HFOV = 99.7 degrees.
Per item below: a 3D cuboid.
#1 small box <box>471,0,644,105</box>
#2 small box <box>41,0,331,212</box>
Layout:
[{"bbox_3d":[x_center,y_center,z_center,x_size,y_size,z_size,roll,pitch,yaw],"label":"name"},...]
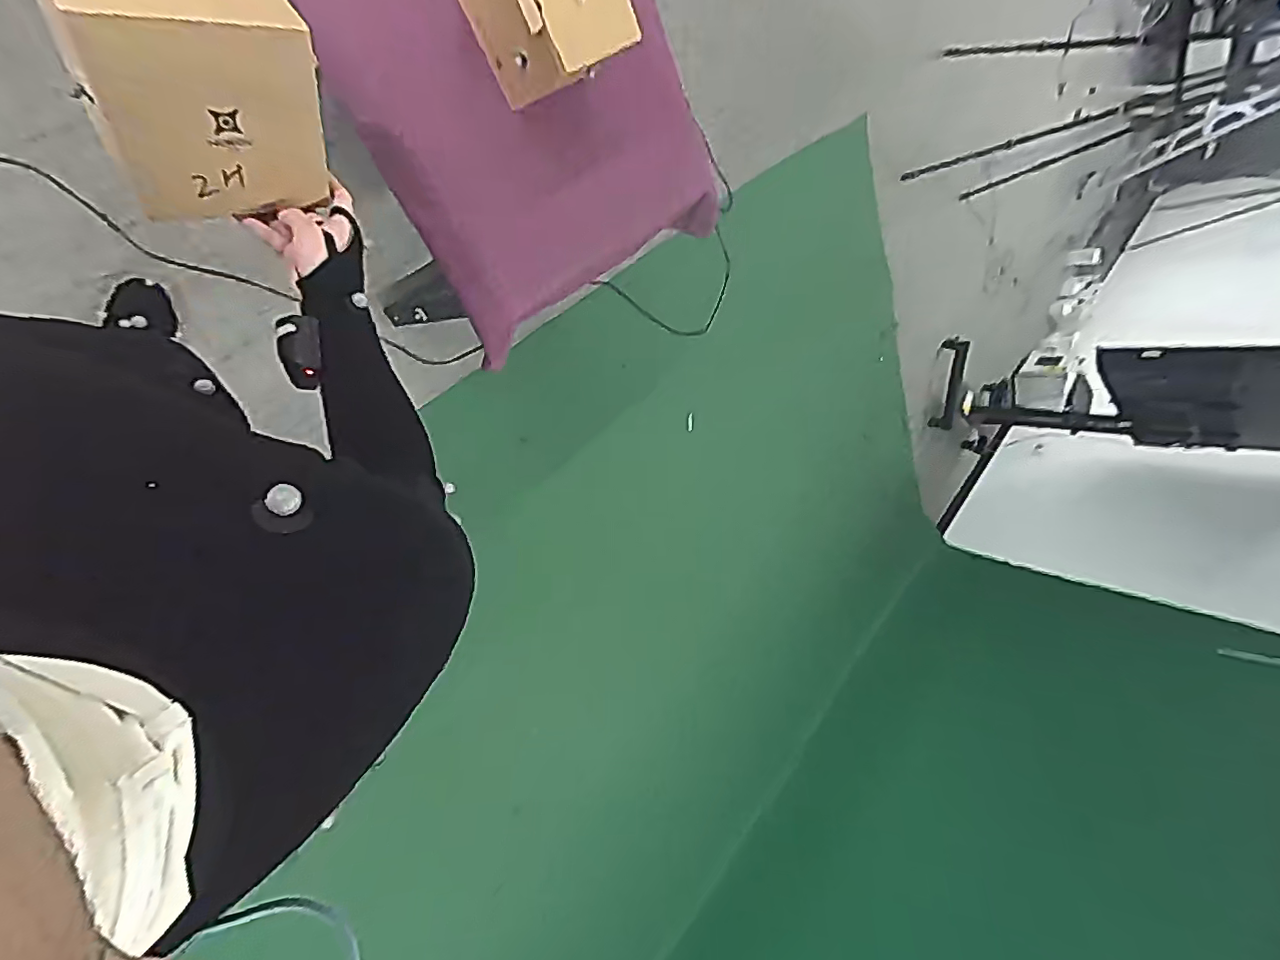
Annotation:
[{"bbox_3d":[-0.133,-0.712,0.825,0.179,0.176,0.168,-44,126,-24],"label":"small box"},{"bbox_3d":[-0.418,-0.387,0.503,0.168,0.179,0.176,-28,74,-34],"label":"small box"}]
